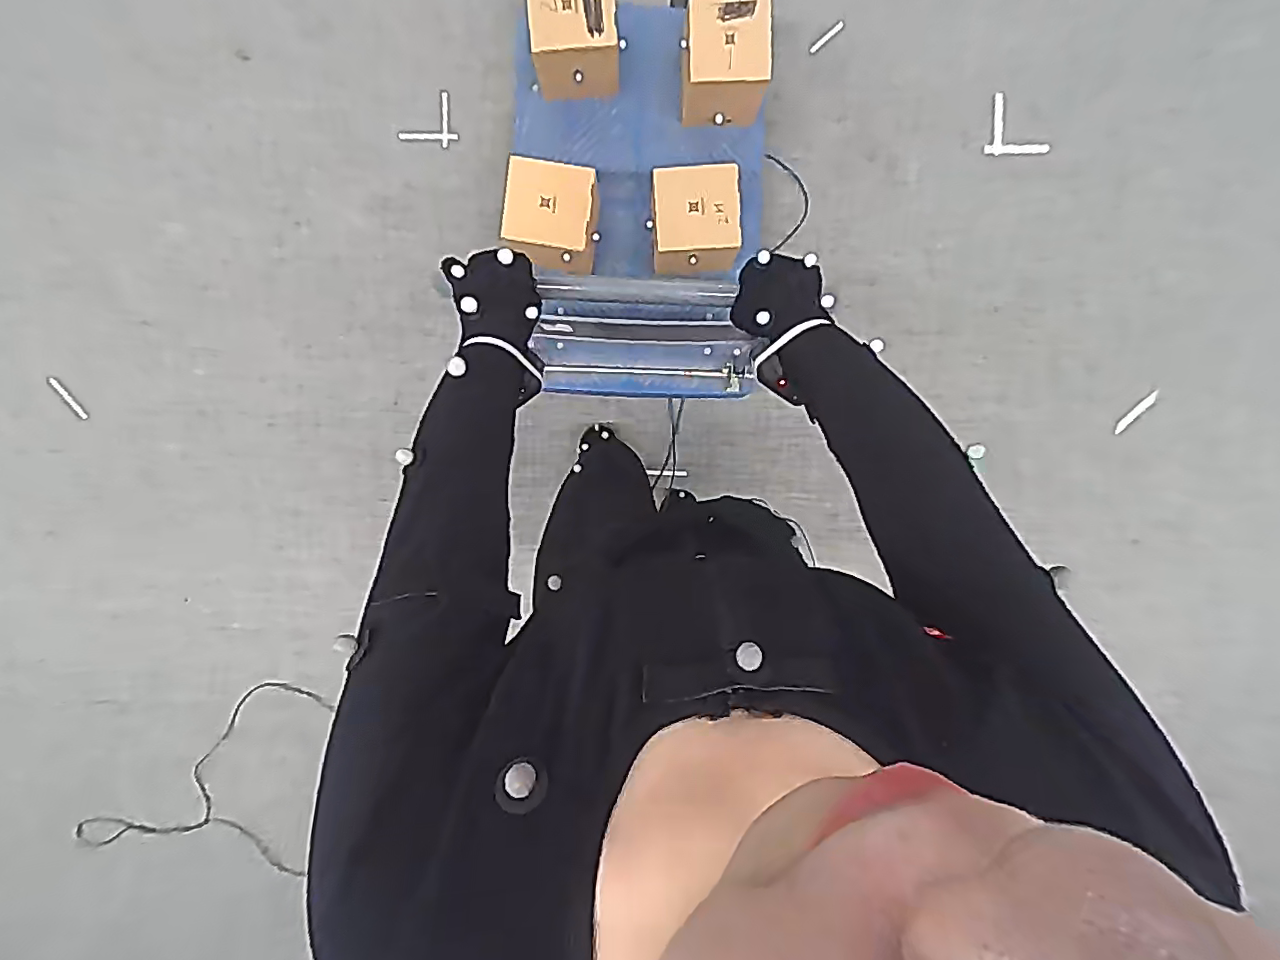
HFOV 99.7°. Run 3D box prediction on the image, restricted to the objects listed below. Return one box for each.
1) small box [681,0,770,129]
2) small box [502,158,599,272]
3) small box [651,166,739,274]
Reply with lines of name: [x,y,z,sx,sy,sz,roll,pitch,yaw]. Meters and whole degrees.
small box: [0.178,-0.896,1.167,0.168,0.176,0.179,-1,95,-1]
small box: [-0.189,-0.572,1.189,0.179,0.176,0.168,7,94,-3]
small box: [0.116,-0.564,1.192,0.179,0.176,0.168,-3,95,0]
